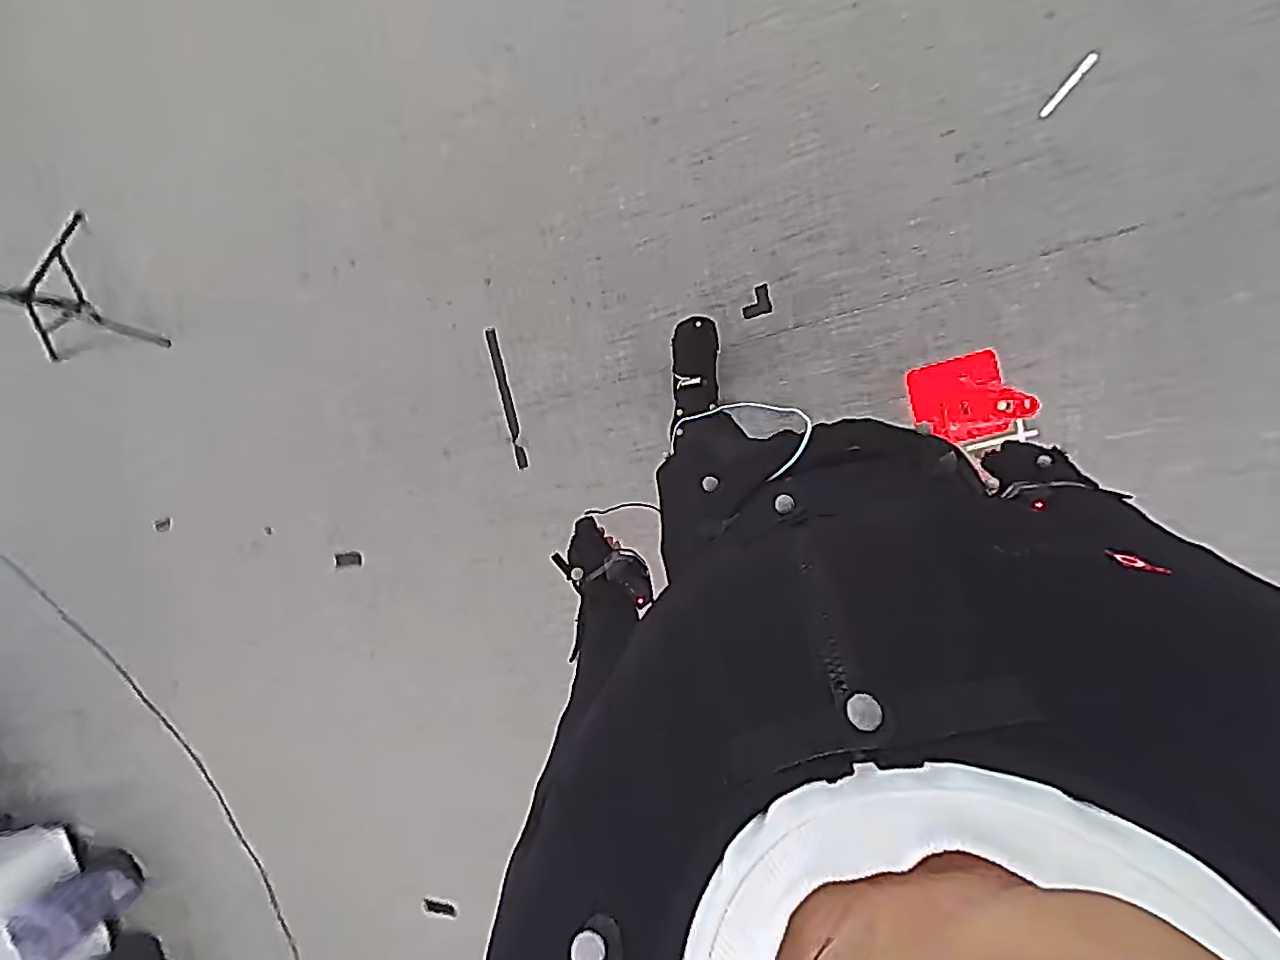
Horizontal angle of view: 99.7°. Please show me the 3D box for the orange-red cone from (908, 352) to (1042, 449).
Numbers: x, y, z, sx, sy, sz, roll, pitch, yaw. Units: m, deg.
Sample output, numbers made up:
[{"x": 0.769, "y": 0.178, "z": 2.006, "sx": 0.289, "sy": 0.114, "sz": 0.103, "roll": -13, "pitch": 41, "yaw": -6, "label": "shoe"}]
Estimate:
[{"x": 0.712, "y": -0.160, "z": 1.107, "sx": 0.198, "sy": 0.360, "sz": 0.199, "roll": -14, "pitch": 95, "yaw": 14, "label": "orange-red cone"}]
